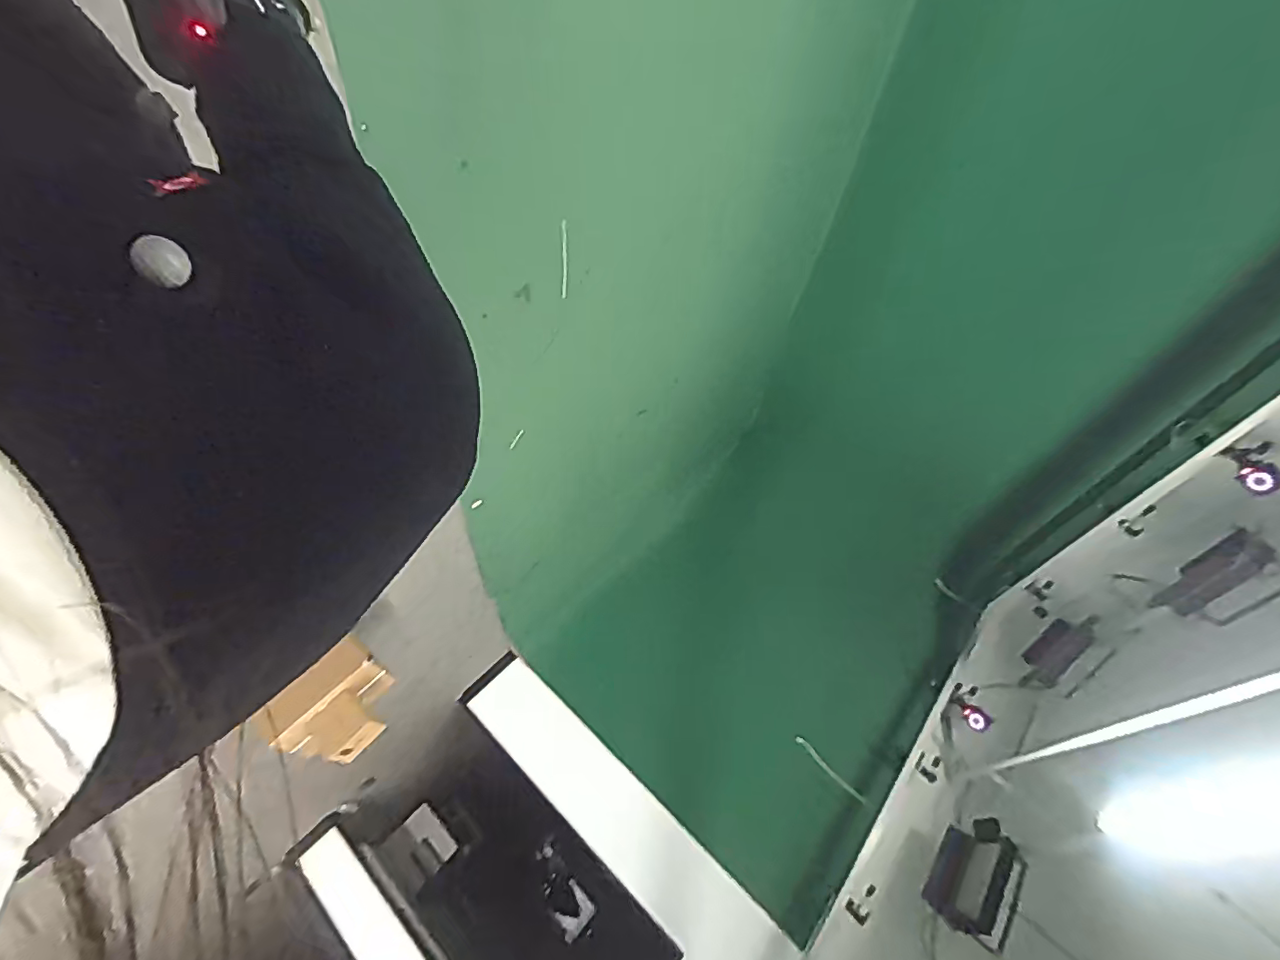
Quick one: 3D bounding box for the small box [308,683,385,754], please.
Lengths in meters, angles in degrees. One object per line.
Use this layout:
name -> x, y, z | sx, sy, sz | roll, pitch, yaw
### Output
small box -> -1.126, 0.912, 2.062 | 0.179, 0.176, 0.168 | -44, 157, -19
